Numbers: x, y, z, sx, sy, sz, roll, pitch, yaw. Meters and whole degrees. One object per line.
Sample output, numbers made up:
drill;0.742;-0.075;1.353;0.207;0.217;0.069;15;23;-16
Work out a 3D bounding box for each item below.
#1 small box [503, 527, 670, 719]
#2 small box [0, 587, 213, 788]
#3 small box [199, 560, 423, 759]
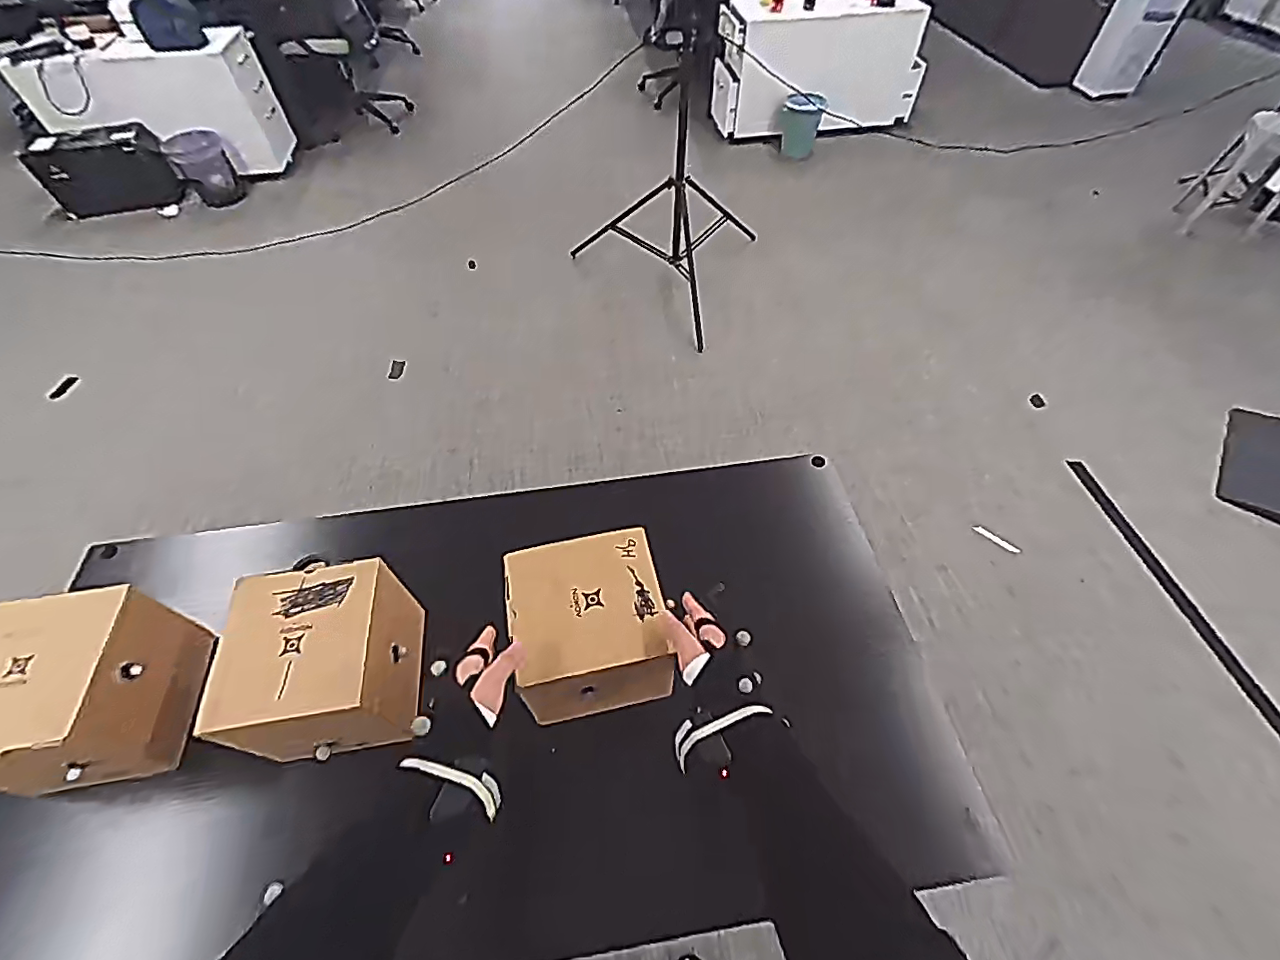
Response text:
small box;-0.063;0.187;0.688;0.179;0.176;0.168;-11;55;-7
small box;-0.664;0.254;0.647;0.168;0.176;0.179;-8;53;-7
small box;-0.379;0.223;0.665;0.168;0.176;0.179;-8;55;-5
